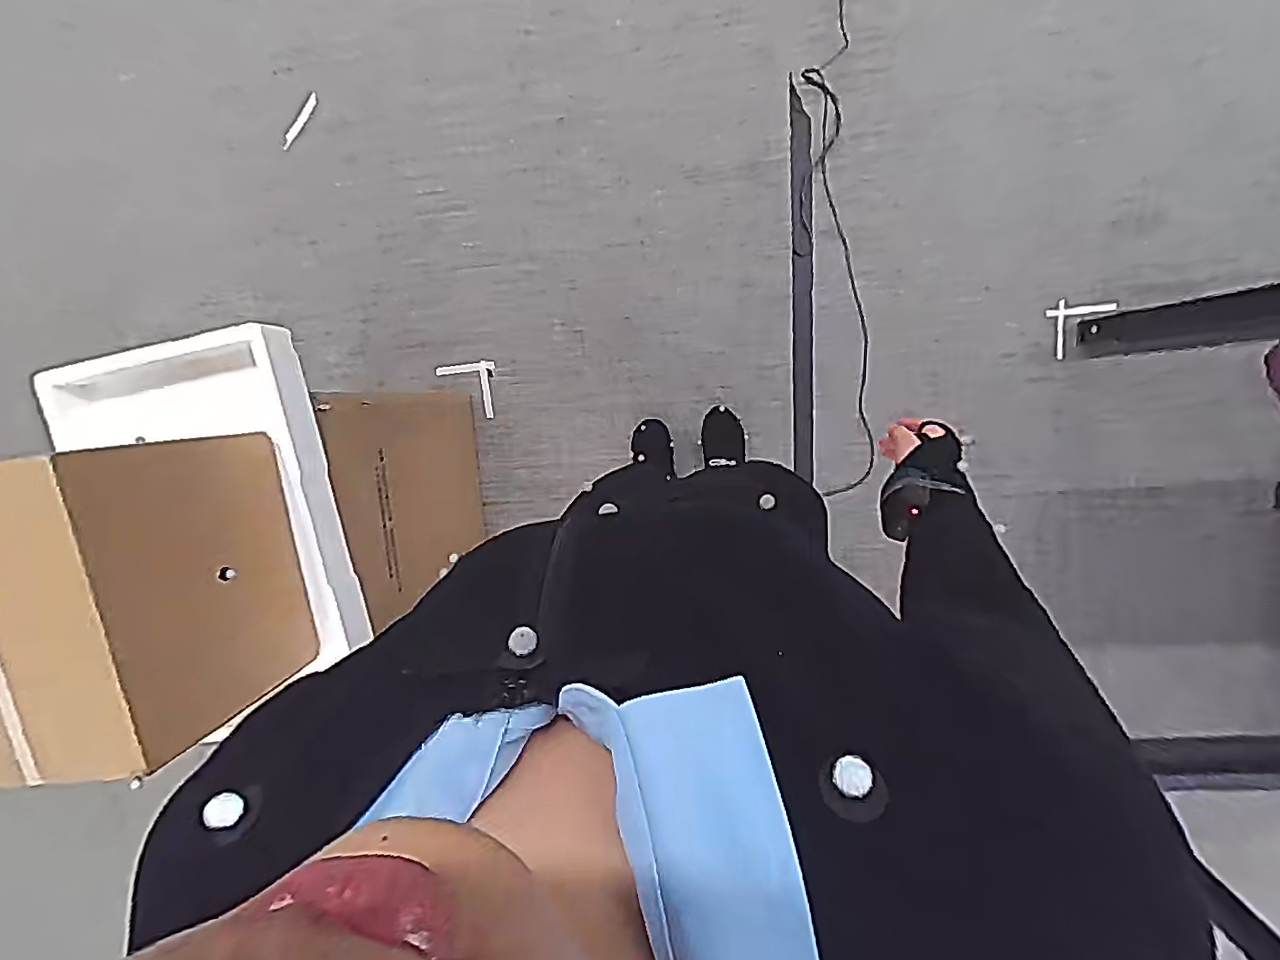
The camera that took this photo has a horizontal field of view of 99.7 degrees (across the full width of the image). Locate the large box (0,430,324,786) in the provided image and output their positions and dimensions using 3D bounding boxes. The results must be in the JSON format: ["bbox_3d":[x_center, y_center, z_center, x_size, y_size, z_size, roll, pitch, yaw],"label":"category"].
[{"bbox_3d":[-0.744,0.157,0.791,0.320,0.320,0.408,-7,100,9],"label":"large box"}]
